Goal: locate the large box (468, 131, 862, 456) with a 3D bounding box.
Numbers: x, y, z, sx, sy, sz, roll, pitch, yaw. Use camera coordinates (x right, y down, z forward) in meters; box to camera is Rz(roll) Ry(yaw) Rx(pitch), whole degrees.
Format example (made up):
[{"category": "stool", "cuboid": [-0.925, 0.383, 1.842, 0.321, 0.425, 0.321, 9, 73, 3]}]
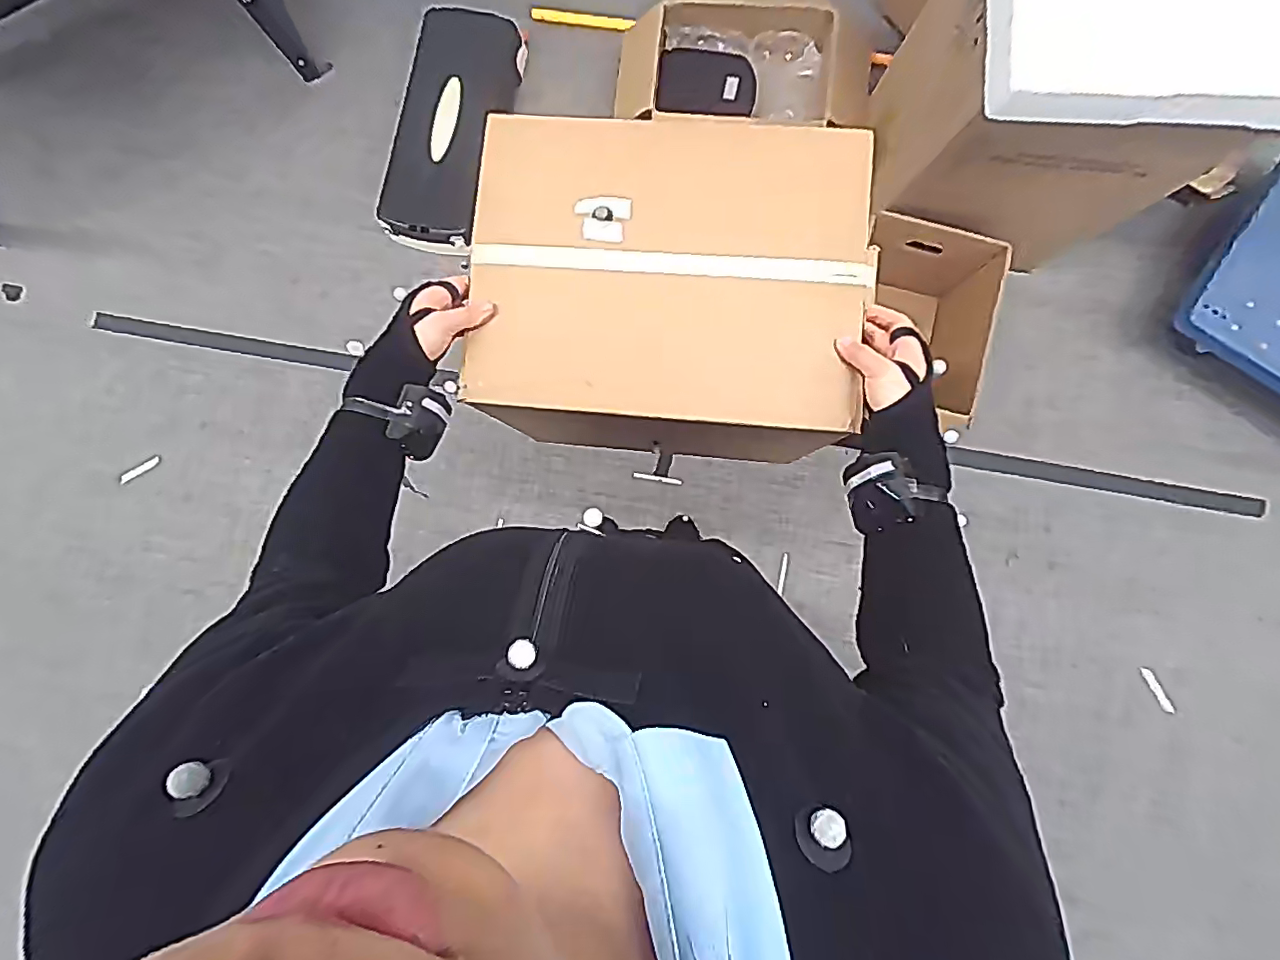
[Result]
[{"category": "large box", "cuboid": [0.039, -0.208, 0.713, 0.408, 0.320, 0.320, 5, 85, 5]}]
